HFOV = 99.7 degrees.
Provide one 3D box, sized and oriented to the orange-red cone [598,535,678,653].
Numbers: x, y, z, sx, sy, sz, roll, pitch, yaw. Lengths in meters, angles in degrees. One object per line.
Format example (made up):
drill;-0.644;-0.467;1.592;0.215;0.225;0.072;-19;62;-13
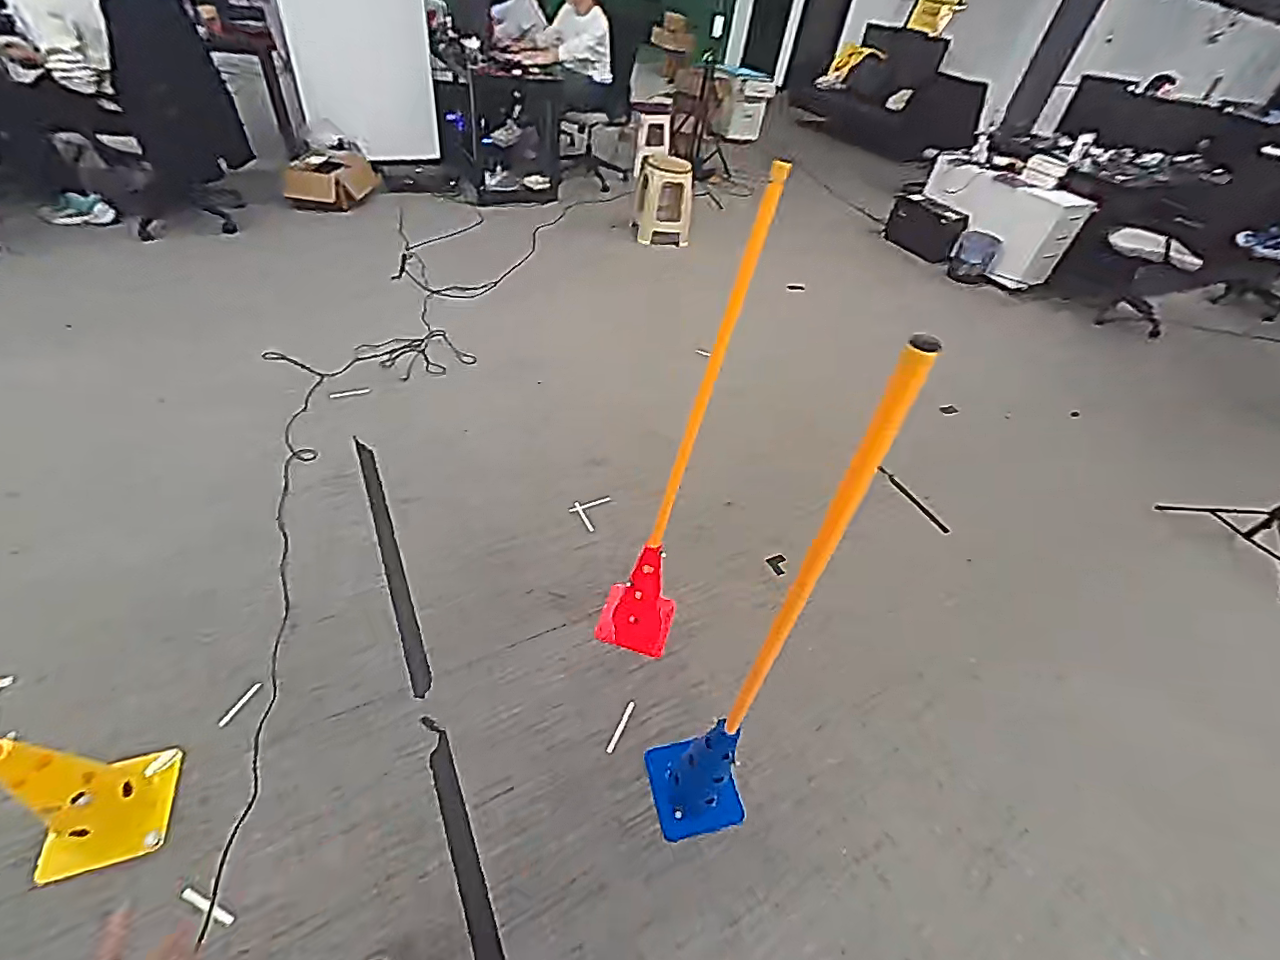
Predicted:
orange-red cone;0.018;0.273;1.443;0.198;0.360;0.199;17;46;8

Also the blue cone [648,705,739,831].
blue cone;0.147;0.591;1.162;0.193;0.380;0.192;-4;45;-14
